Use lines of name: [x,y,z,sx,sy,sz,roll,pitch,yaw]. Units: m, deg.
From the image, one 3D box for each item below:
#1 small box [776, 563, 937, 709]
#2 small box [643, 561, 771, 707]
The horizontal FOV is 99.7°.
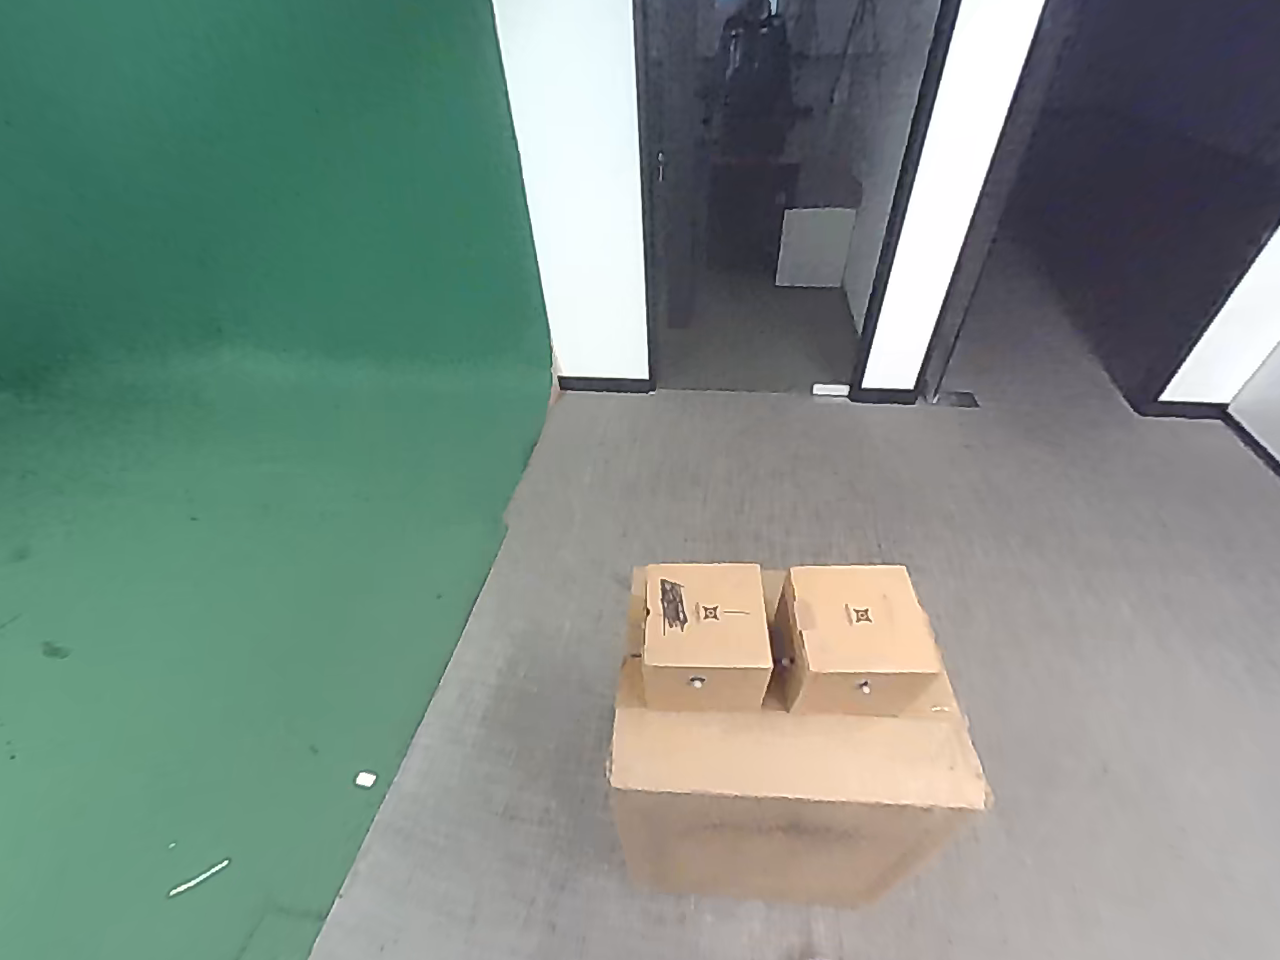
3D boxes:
small box: [0.312,0.242,0.829,0.179,0.176,0.168,0,49,2]
small box: [0.098,0.241,0.842,0.179,0.176,0.168,0,48,3]
